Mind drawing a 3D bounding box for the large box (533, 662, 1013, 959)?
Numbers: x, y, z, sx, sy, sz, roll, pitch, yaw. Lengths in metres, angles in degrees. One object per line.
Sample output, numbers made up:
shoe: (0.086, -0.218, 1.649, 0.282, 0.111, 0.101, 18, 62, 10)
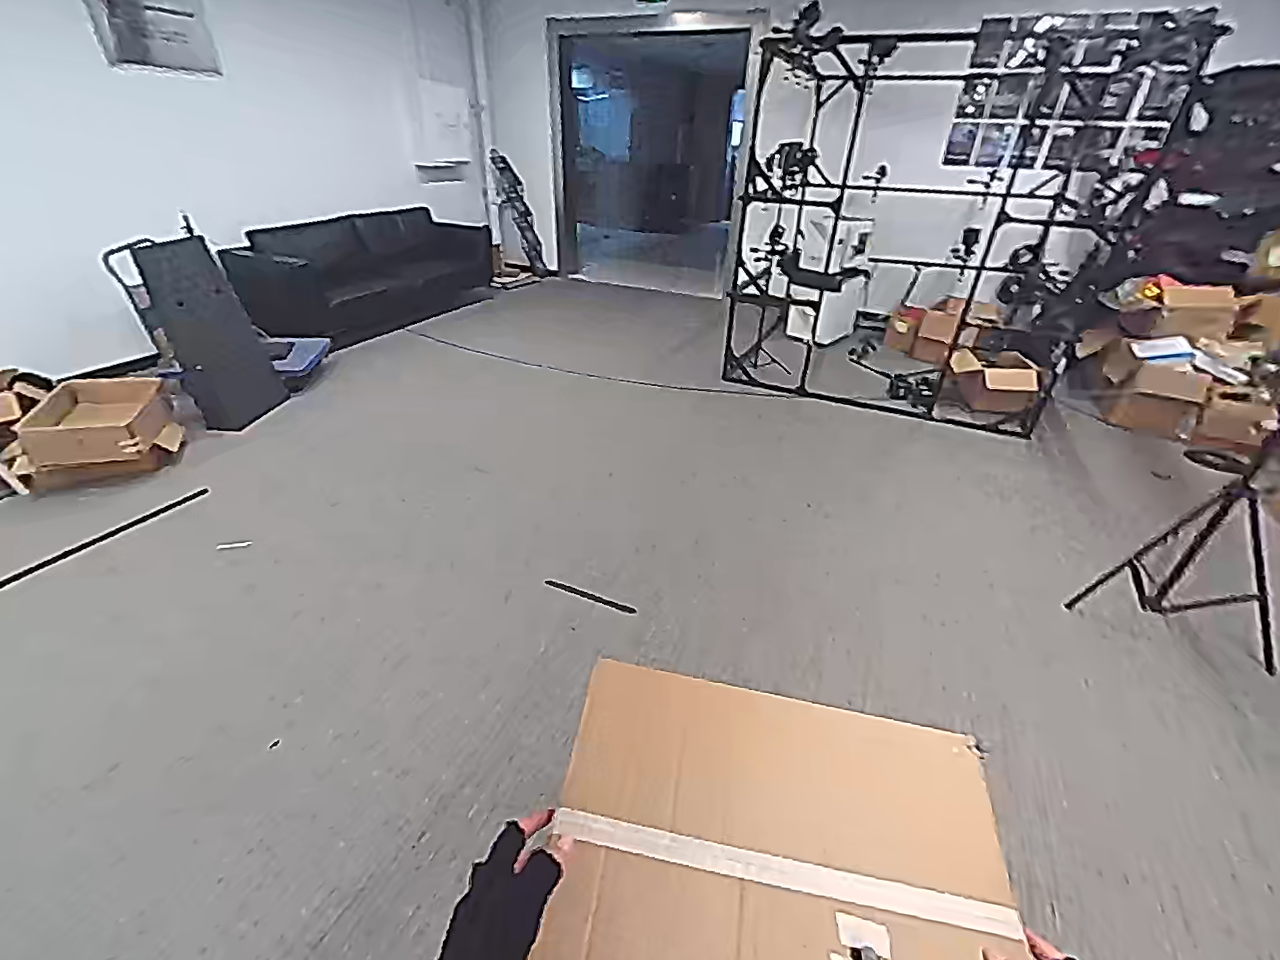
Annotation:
large box: (0.112, 0.445, 0.600, 0.408, 0.320, 0.320, 10, 47, 3)
